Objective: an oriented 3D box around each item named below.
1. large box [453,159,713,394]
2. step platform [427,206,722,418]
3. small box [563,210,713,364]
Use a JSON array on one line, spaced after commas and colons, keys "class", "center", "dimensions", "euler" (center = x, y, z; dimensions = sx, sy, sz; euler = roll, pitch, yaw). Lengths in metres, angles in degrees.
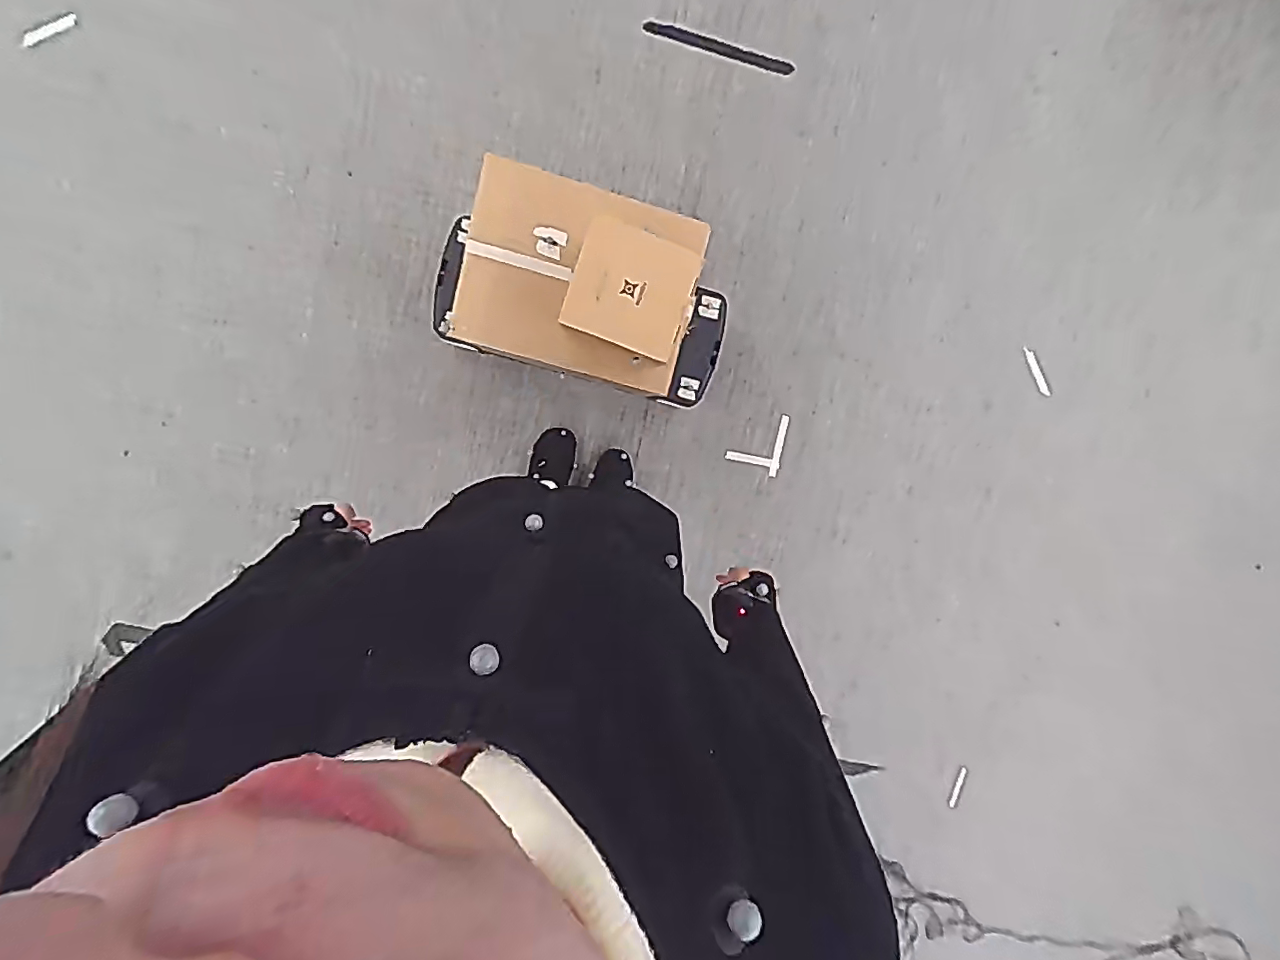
[{"class": "large box", "center": [-0.107, -0.368, 1.085], "dimensions": [0.408, 0.320, 0.320], "euler": [14, 96, -6]}, {"class": "step platform", "center": [-0.149, -0.391, 1.319], "dimensions": [0.684, 0.204, 0.286], "euler": [20, 96, -7]}, {"class": "small box", "center": [-0.009, -0.291, 0.856], "dimensions": [0.179, 0.176, 0.168], "euler": [20, 97, -7]}]
